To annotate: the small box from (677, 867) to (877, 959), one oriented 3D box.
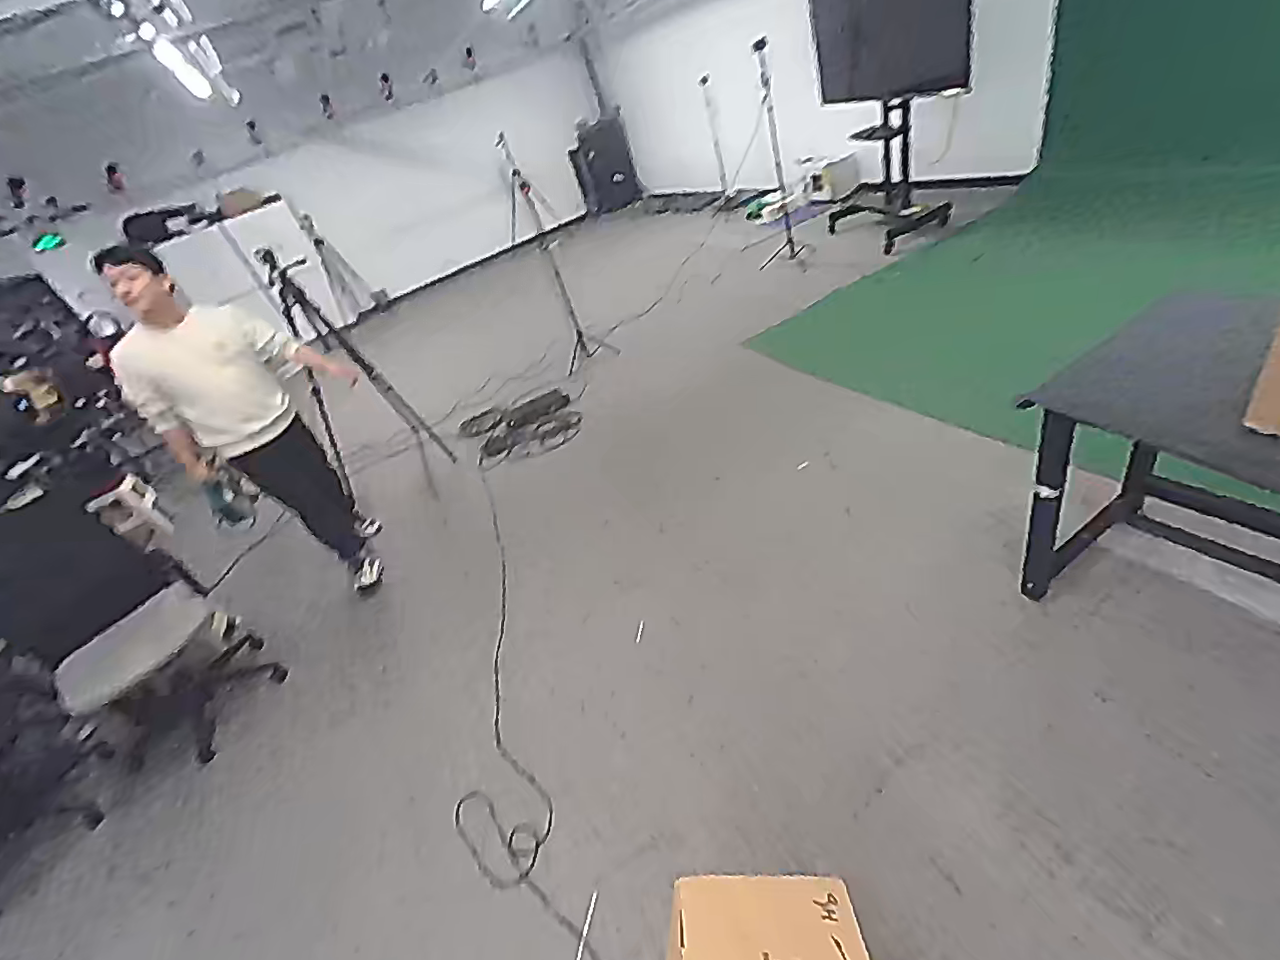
[{"bbox_3d":[0.128,0.511,0.519,0.179,0.176,0.168,2,25,-1],"label":"small box"}]
